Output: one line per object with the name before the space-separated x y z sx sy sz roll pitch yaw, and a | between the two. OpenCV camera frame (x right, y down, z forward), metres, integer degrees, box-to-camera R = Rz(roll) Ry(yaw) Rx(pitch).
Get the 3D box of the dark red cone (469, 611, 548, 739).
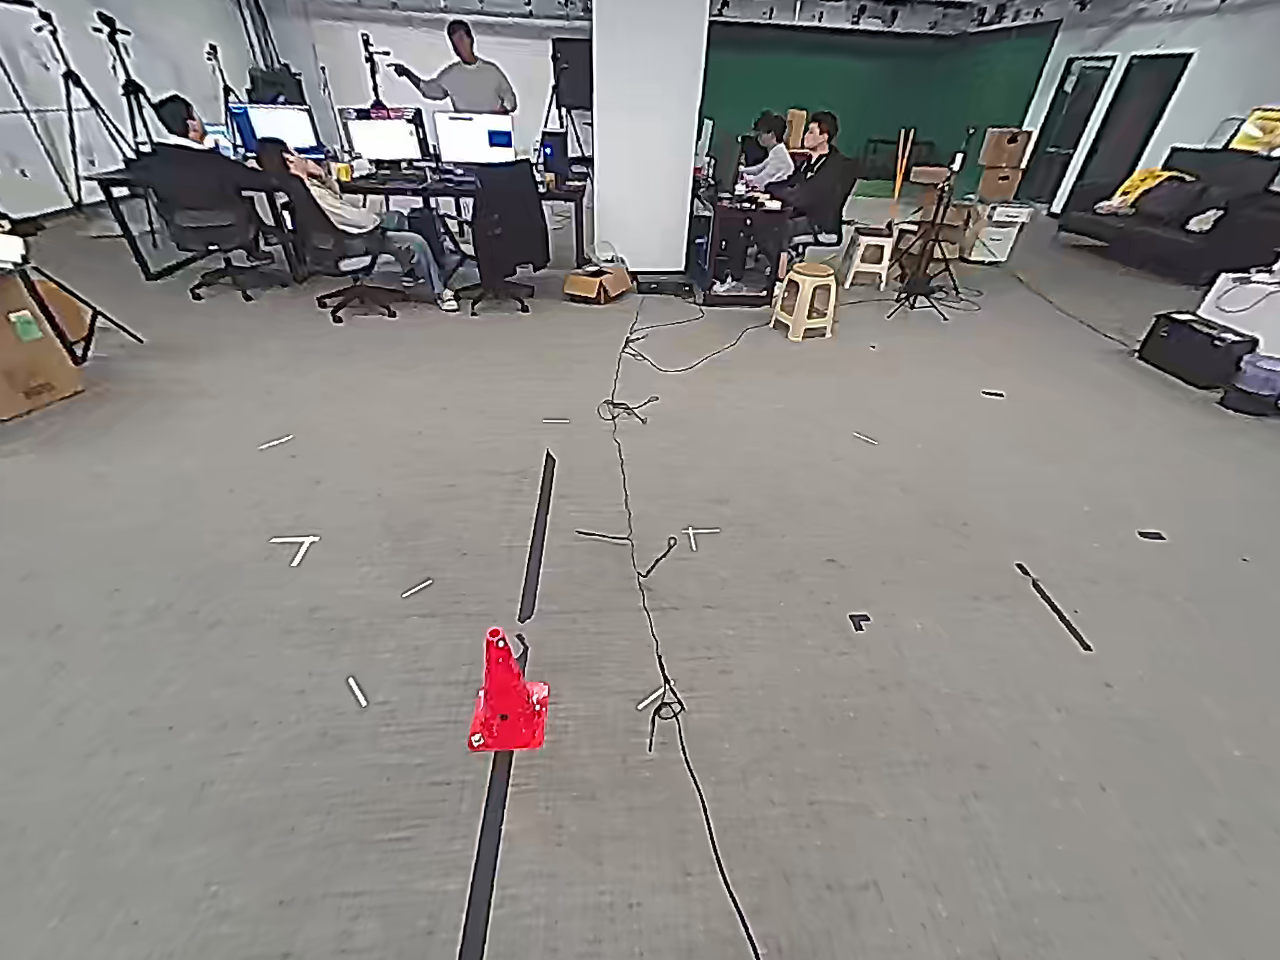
dark red cone | -0.348 0.488 1.397 0.201 0.394 0.202 1 35 -5
